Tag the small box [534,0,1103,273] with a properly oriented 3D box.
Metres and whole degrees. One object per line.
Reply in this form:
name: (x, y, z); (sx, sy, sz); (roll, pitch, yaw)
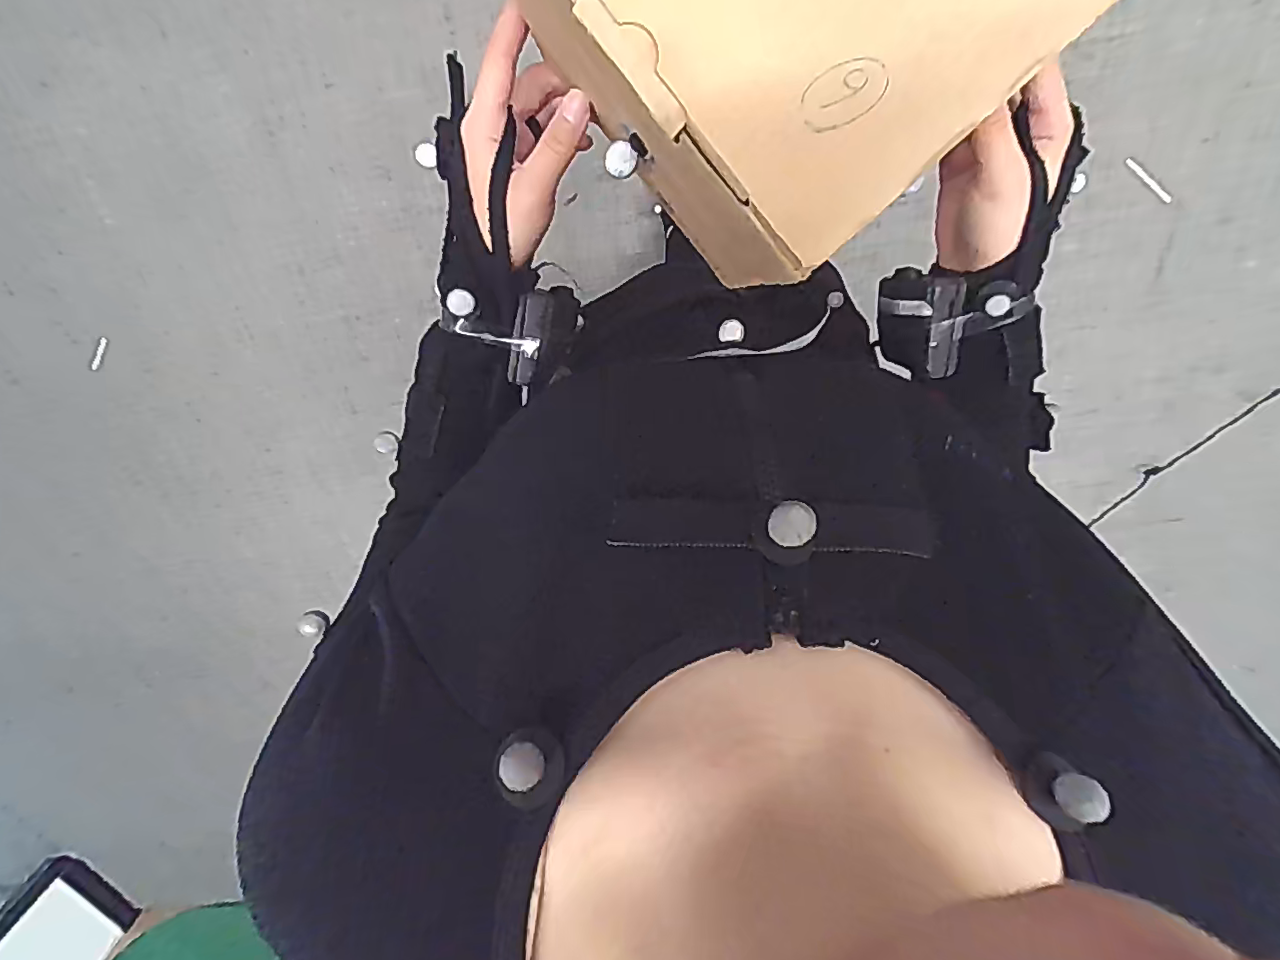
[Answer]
small box: (0.063, -0.203, 0.214); (0.179, 0.176, 0.168); (-40, 103, 14)
